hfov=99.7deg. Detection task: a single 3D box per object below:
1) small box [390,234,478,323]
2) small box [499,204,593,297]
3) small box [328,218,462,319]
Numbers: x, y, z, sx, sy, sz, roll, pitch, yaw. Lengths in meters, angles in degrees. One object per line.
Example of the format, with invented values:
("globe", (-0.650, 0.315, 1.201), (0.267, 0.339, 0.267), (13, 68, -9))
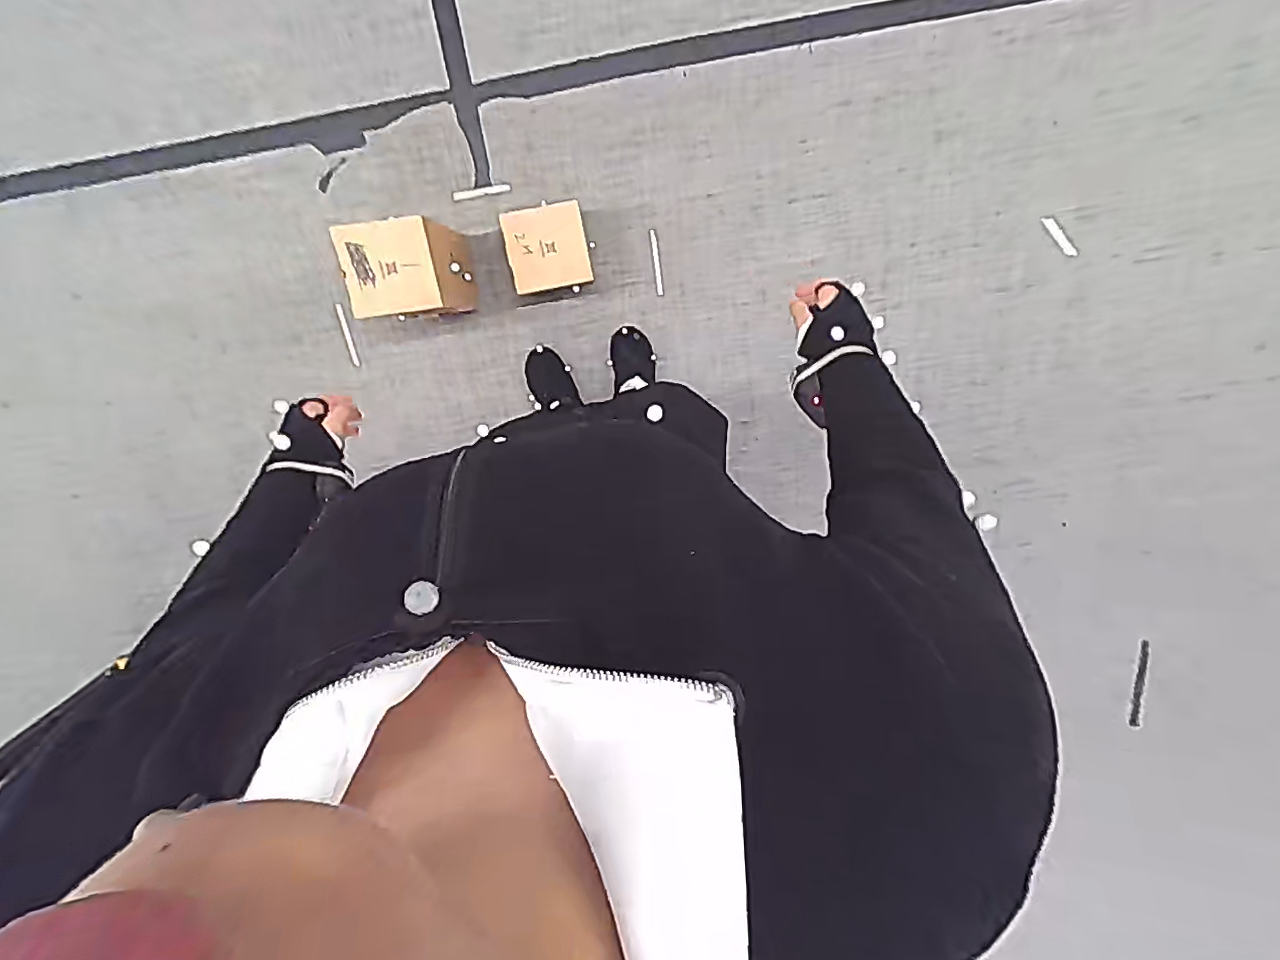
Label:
("small box", (-0.489, -0.468, 1.250), (0.168, 0.176, 0.179), (-7, 110, 0))
("small box", (-0.207, -0.522, 1.243), (0.179, 0.176, 0.168), (-10, 110, 1))
("small box", (-0.482, -0.419, 1.091), (0.179, 0.176, 0.168), (-8, 109, 0))
